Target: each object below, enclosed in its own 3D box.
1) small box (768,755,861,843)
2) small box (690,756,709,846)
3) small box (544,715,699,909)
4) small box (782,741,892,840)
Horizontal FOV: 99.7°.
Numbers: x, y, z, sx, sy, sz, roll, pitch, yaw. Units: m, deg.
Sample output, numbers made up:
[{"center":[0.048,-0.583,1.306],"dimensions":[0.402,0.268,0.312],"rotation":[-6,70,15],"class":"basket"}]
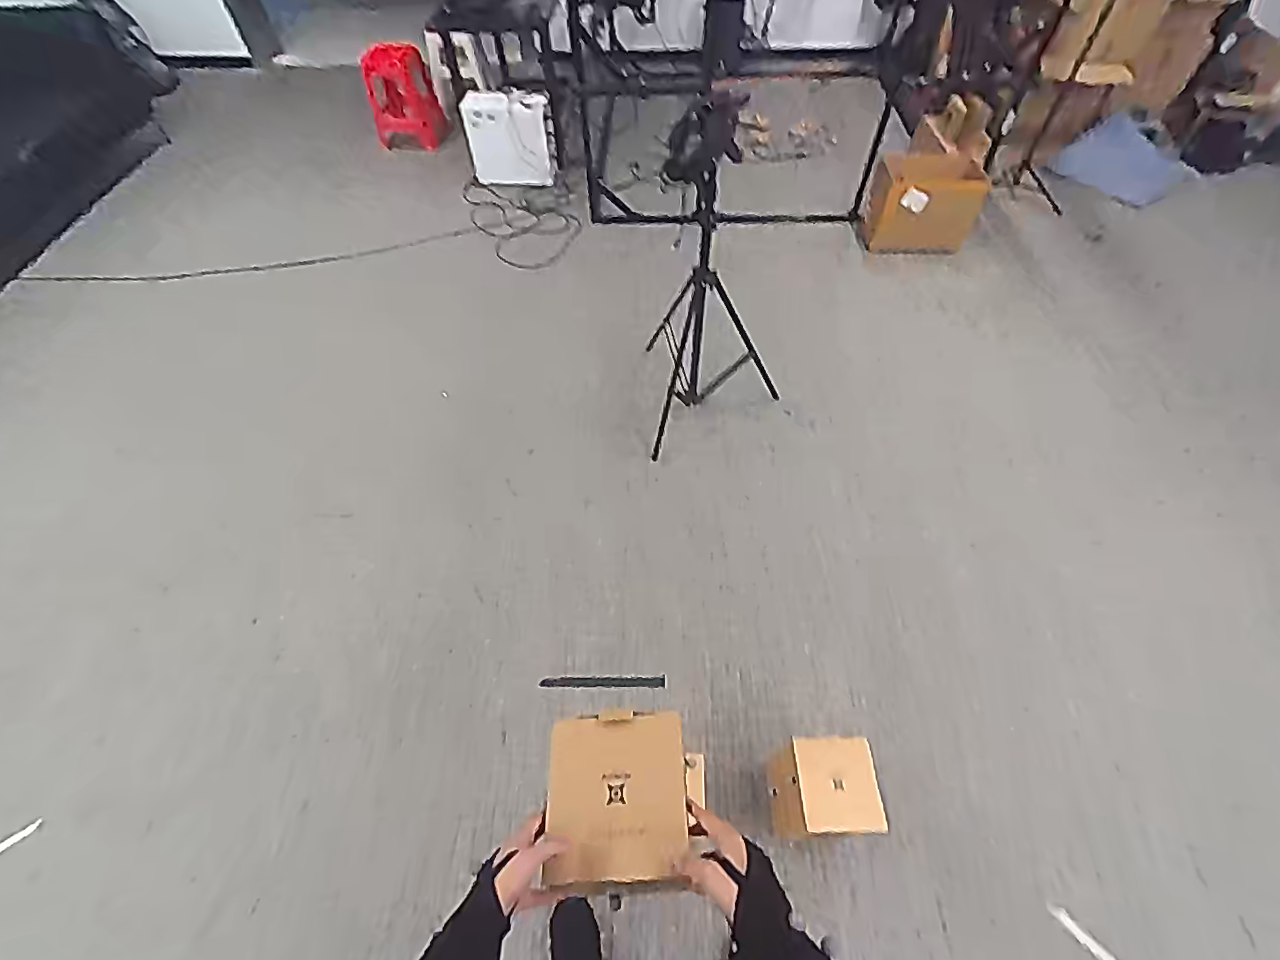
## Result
[{"center":[0.416,0.775,1.310],"dimensions":[0.168,0.176,0.179],"rotation":[-1,53,0],"class":"small box"},{"center":[0.075,0.778,1.311],"dimensions":[0.168,0.176,0.179],"rotation":[1,55,2],"class":"small box"},{"center":[-0.015,0.417,0.679],"dimensions":[0.168,0.176,0.179],"rotation":[-5,47,3],"class":"small box"},{"center":[0.418,0.680,1.178],"dimensions":[0.168,0.176,0.179],"rotation":[-1,53,0],"class":"small box"}]
